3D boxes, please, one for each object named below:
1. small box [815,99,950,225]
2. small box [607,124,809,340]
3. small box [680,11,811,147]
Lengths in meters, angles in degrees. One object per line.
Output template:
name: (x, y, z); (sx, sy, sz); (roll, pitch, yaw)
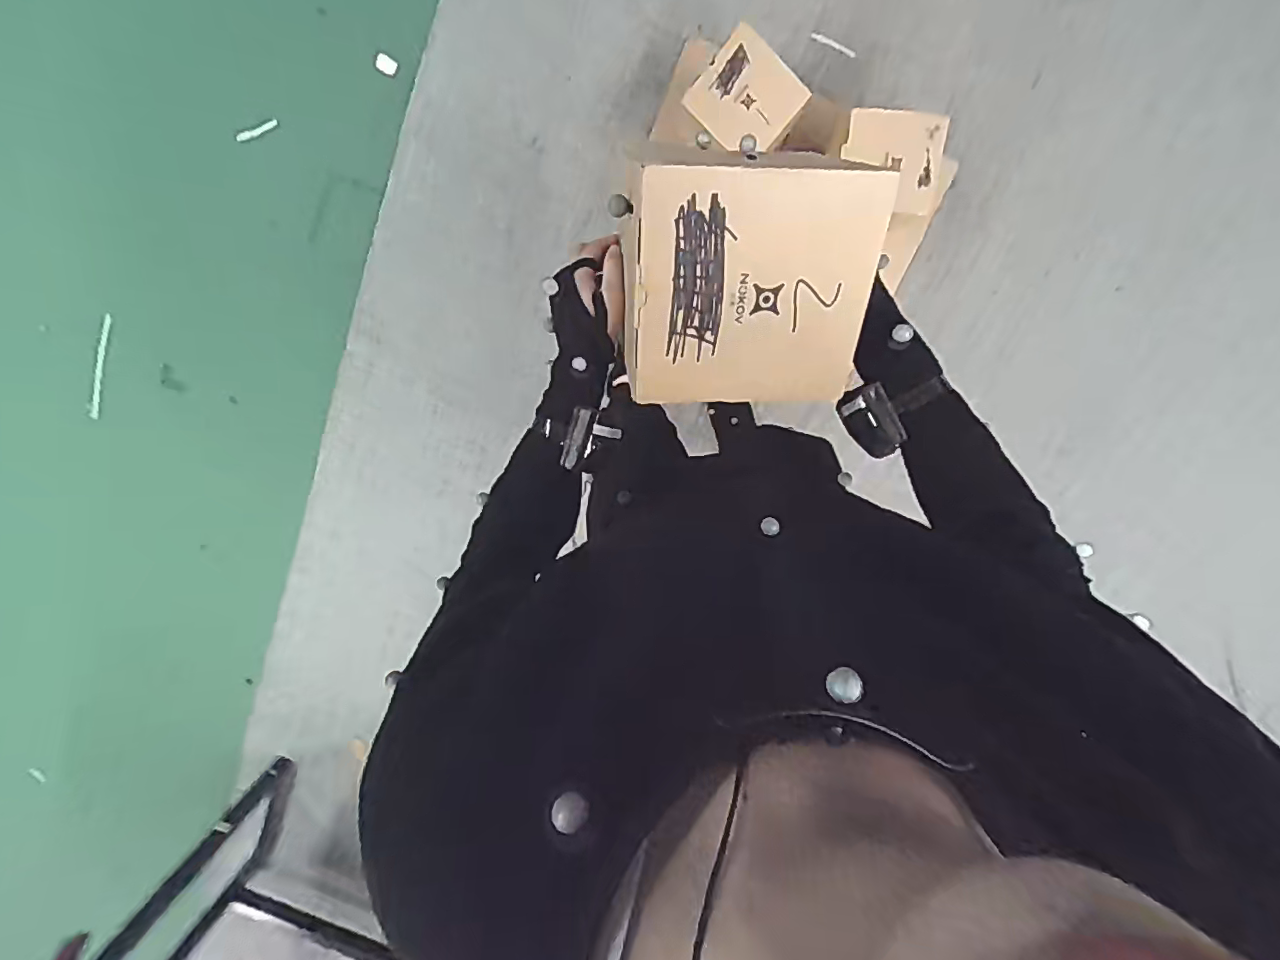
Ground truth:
small box: (0.454, -0.603, 1.046); (0.179, 0.176, 0.168); (7, 105, 2)
small box: (0.055, -0.270, 0.586); (0.168, 0.176, 0.179); (2, 124, -9)
small box: (0.189, -0.715, 1.033); (0.179, 0.176, 0.168); (42, 103, -9)
